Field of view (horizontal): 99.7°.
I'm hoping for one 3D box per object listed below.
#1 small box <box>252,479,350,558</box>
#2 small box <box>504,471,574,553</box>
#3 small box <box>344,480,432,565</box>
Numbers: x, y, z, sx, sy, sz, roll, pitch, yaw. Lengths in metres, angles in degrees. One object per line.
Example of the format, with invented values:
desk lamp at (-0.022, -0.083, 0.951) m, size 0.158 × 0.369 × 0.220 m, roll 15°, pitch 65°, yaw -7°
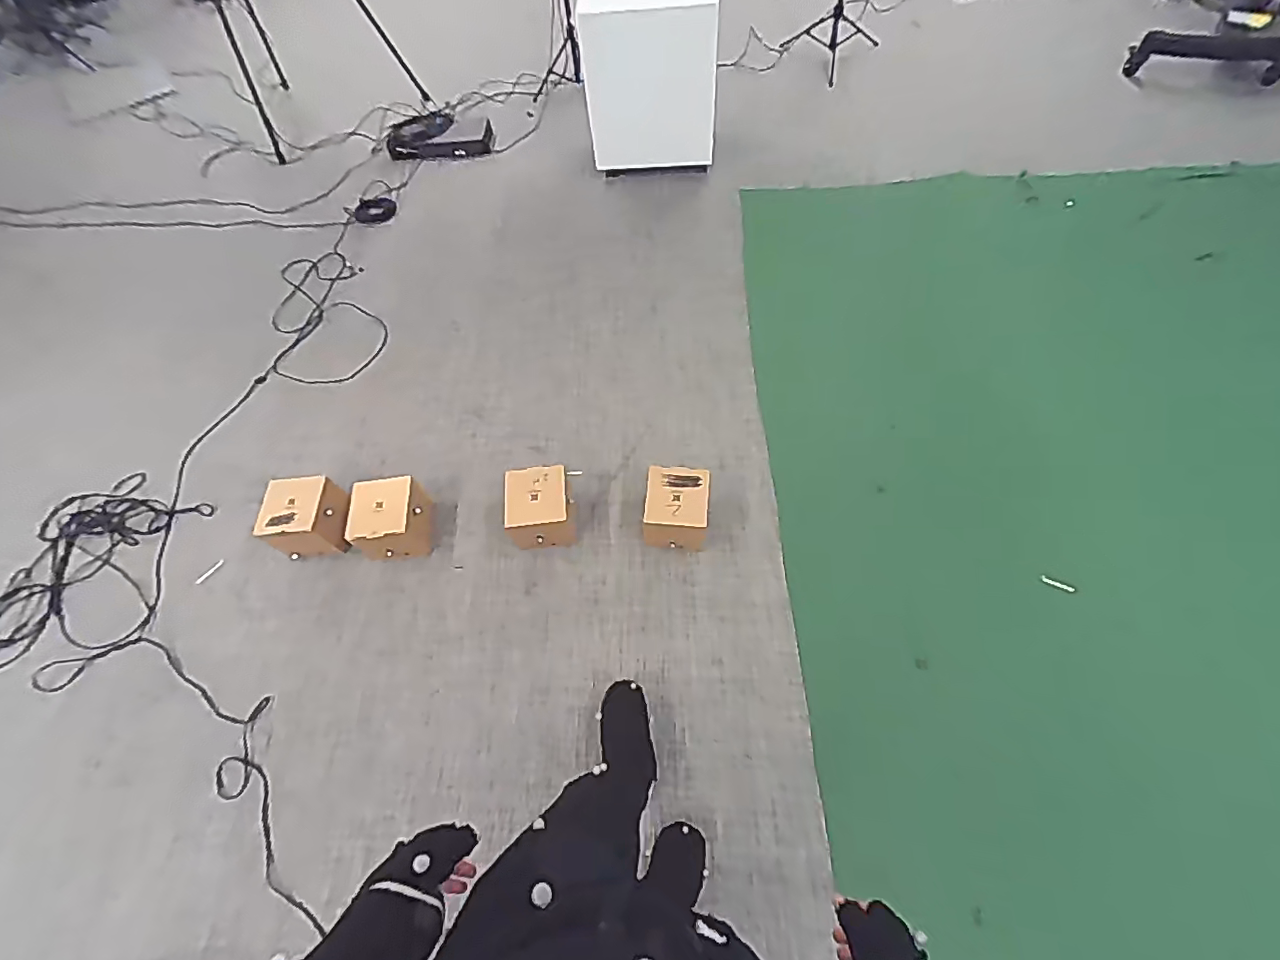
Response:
small box at (-0.959, 0.118, 1.554) m, size 0.168 × 0.176 × 0.179 m, roll -5°, pitch 59°, yaw 1°
small box at (-0.279, 0.096, 1.519) m, size 0.168 × 0.176 × 0.179 m, roll -6°, pitch 60°, yaw -1°
small box at (-0.704, 0.123, 1.534) m, size 0.168 × 0.176 × 0.179 m, roll -7°, pitch 61°, yaw 0°
